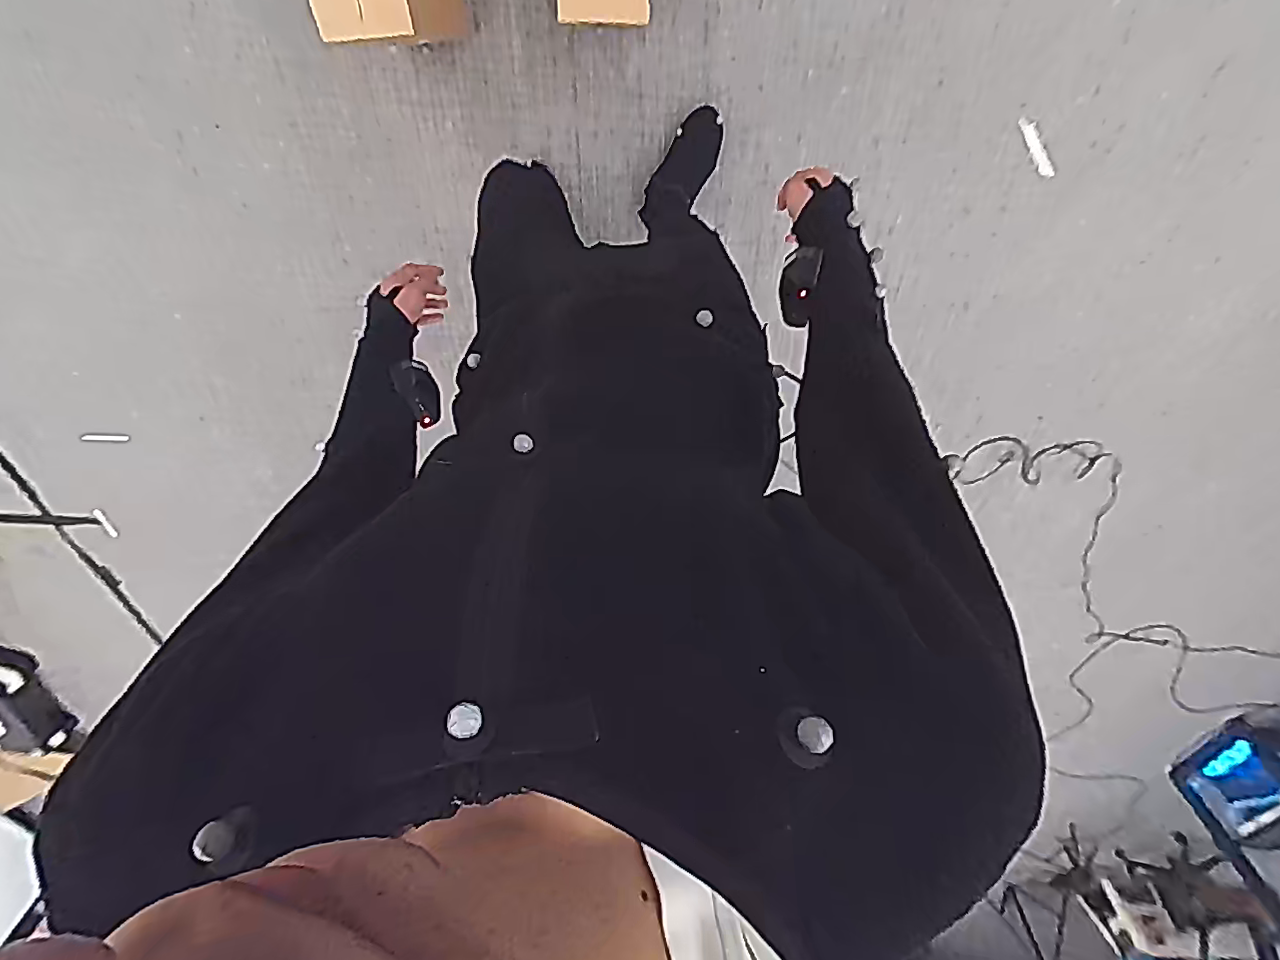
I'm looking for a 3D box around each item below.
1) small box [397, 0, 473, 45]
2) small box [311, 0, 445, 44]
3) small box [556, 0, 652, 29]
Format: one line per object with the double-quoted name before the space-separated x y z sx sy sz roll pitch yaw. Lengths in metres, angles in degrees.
"small box" -0.445 -0.970 1.053 0.168 0.176 0.179 -3 127 4
"small box" -0.457 -0.867 0.926 0.168 0.176 0.179 -1 128 4
"small box" -0.064 -0.977 1.035 0.179 0.176 0.168 2 128 -1
